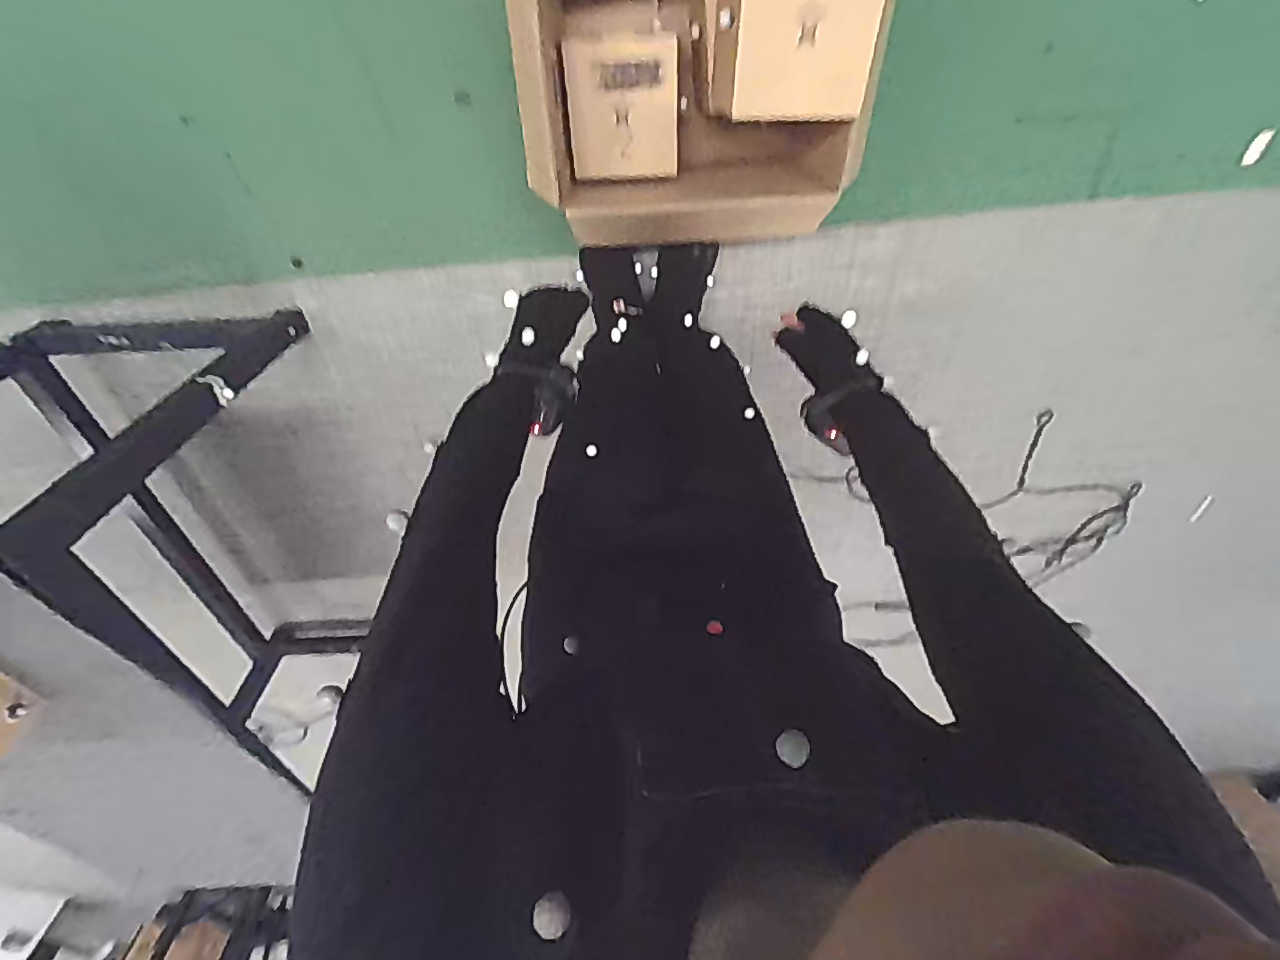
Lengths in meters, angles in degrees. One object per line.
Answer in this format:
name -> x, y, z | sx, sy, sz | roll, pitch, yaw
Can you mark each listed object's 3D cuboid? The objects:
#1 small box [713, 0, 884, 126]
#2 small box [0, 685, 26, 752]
small box -> 0.189, -0.564, 0.686 | 0.168, 0.176, 0.179 | -2, 128, -2
small box -> -0.969, 0.332, 0.688 | 0.179, 0.176, 0.168 | -4, 128, 4
